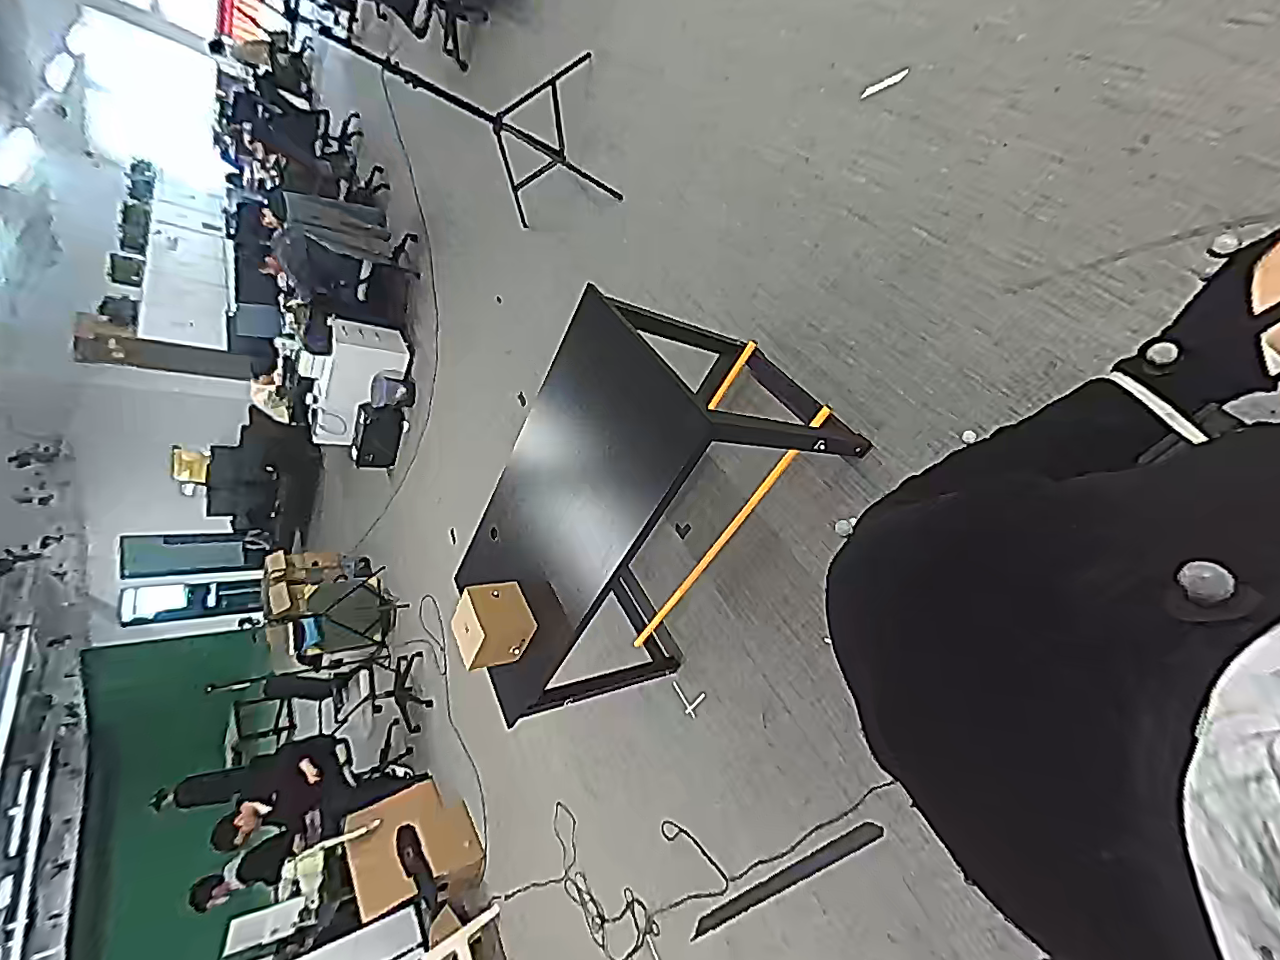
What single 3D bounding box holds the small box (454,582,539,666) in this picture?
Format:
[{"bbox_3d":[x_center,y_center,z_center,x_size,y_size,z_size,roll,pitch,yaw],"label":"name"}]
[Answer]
[{"bbox_3d":[-0.424,0.418,1.596,0.179,0.176,0.168,52,126,36],"label":"small box"}]
